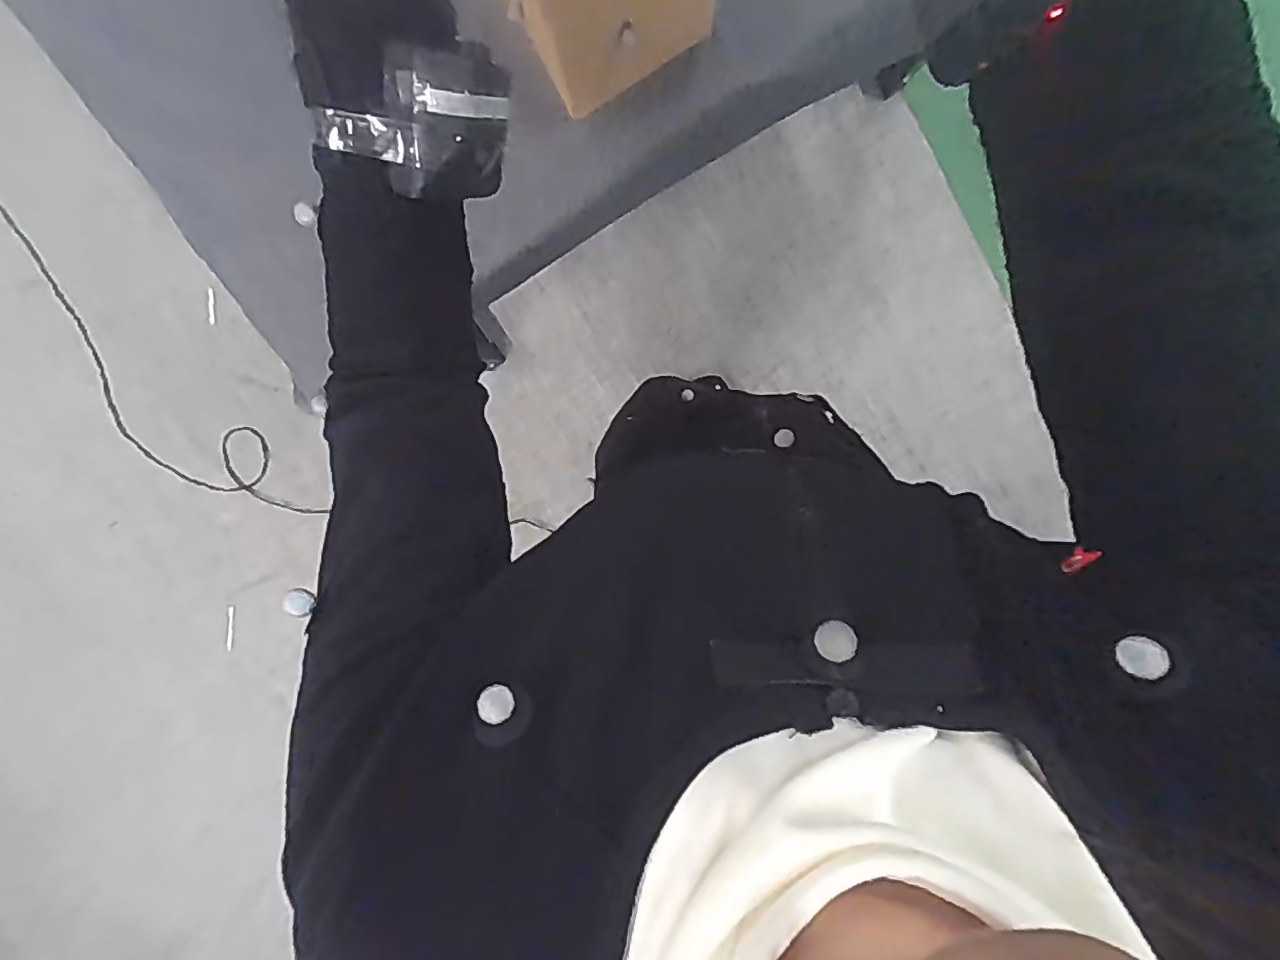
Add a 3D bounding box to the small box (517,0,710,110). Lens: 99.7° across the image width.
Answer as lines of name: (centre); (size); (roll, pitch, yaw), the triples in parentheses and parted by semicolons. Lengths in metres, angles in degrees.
small box: (-0.039, -0.500, 0.507); (0.179, 0.176, 0.168); (-29, 99, 8)
